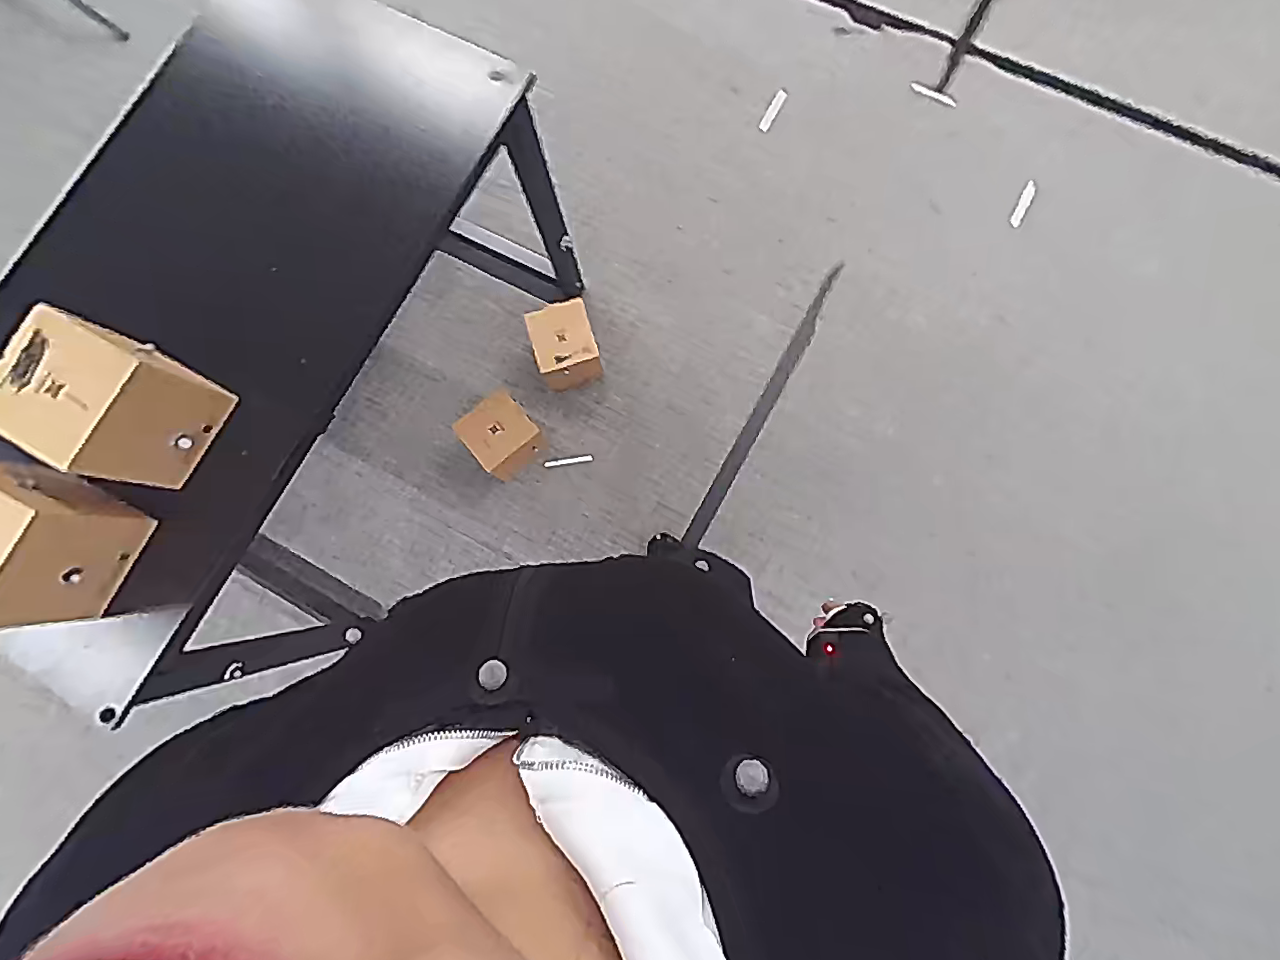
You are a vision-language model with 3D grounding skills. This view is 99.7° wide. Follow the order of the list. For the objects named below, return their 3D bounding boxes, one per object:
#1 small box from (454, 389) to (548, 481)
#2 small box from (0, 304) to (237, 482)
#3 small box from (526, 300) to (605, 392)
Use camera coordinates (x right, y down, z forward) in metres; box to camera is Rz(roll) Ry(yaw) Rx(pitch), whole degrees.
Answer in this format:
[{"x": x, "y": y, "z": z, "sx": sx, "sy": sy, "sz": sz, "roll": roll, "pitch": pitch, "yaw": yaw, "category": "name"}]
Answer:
[{"x": -0.372, "y": -0.118, "z": 1.492, "sx": 0.179, "sy": 0.176, "sz": 0.168, "roll": -40, "pitch": 81, "yaw": -3, "category": "small box"}, {"x": -0.742, "y": -0.110, "z": 0.767, "sx": 0.179, "sy": 0.176, "sz": 0.168, "roll": 28, "pitch": 84, "yaw": 6, "category": "small box"}, {"x": -0.205, "y": -0.370, "z": 1.520, "sx": 0.168, "sy": 0.176, "sz": 0.179, "roll": -18, "pitch": 81, "yaw": 0, "category": "small box"}]
